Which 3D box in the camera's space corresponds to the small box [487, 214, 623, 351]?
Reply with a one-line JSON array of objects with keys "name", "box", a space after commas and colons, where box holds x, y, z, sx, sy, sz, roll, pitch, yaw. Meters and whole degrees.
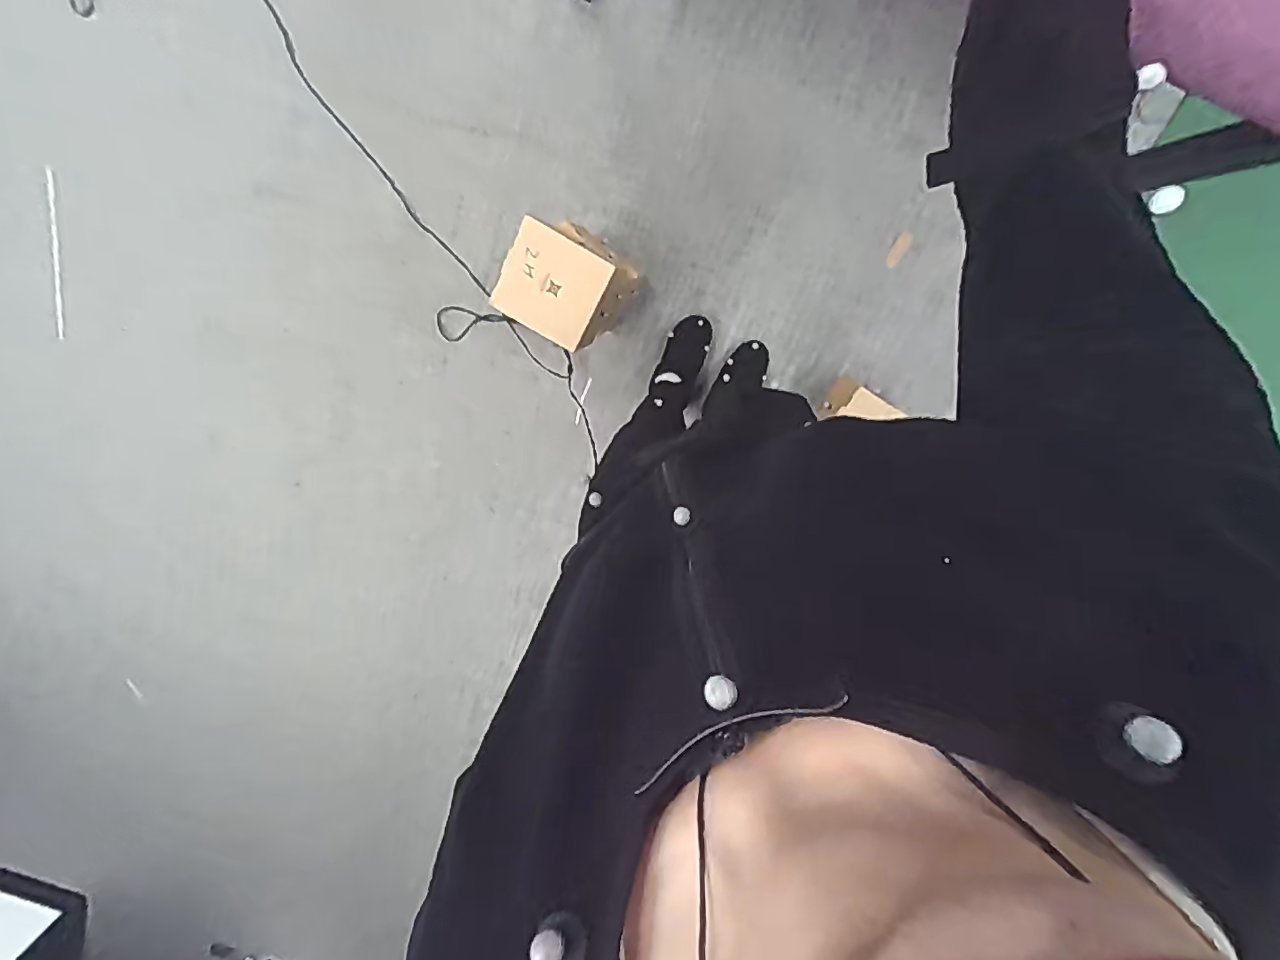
[{"name": "small box", "box": [-0.147, -0.362, 0.999, 0.179, 0.176, 0.168, 30, 109, -4]}]

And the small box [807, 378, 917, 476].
[{"name": "small box", "box": [0.544, -0.142, 1.356, 0.179, 0.176, 0.168, 31, 111, -5]}]

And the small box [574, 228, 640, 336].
[{"name": "small box", "box": [-0.113, -0.475, 1.303, 0.168, 0.176, 0.179, 37, 110, -7]}]
